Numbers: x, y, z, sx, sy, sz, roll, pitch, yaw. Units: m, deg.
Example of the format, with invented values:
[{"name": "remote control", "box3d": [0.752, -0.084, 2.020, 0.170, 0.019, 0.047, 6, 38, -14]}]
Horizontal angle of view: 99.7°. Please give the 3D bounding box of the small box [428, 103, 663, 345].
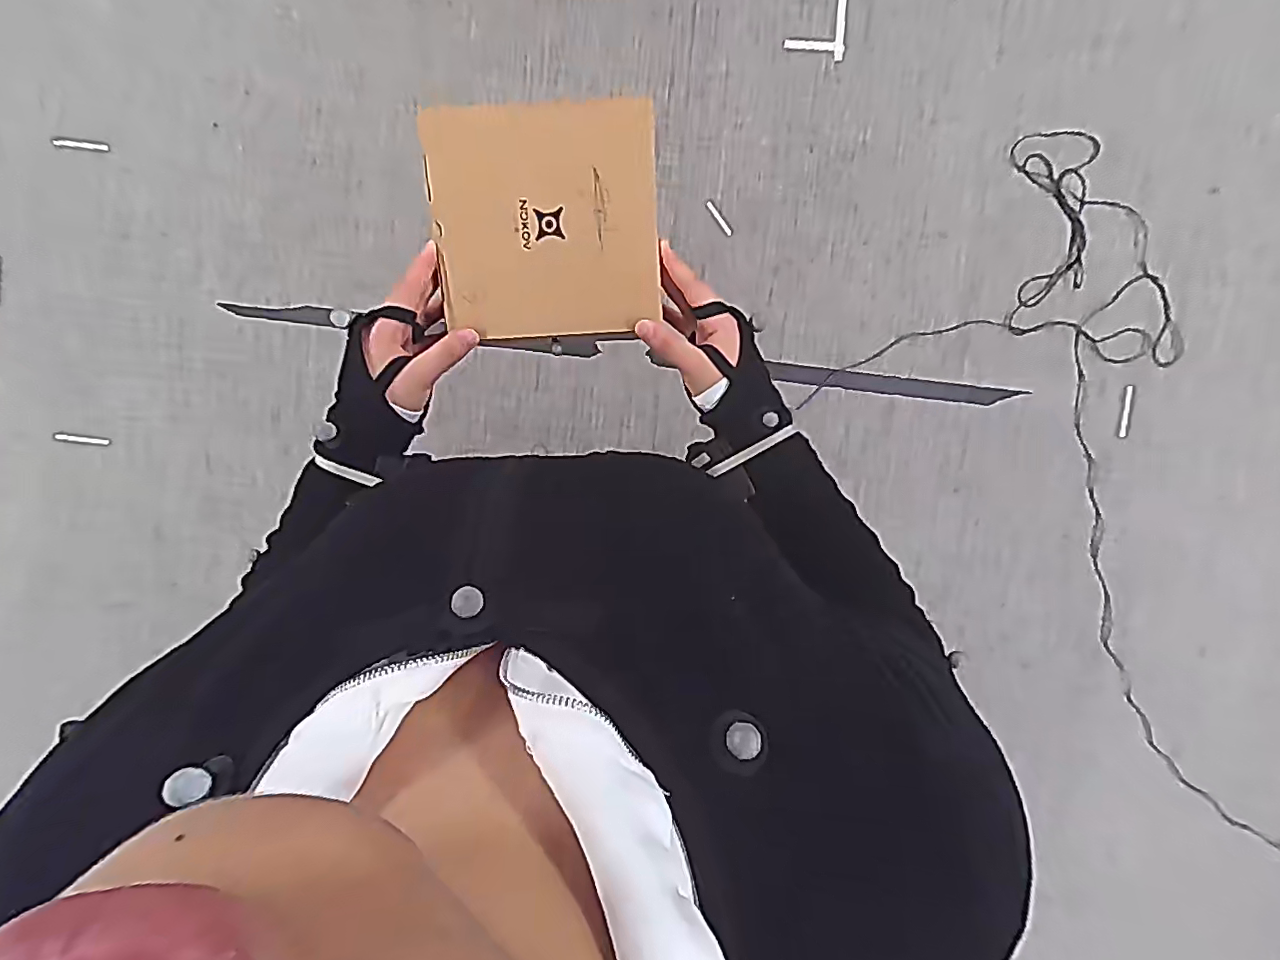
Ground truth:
[{"name": "small box", "box3d": [-0.071, -0.216, 0.502, 0.179, 0.176, 0.168, -4, 103, 0]}]
